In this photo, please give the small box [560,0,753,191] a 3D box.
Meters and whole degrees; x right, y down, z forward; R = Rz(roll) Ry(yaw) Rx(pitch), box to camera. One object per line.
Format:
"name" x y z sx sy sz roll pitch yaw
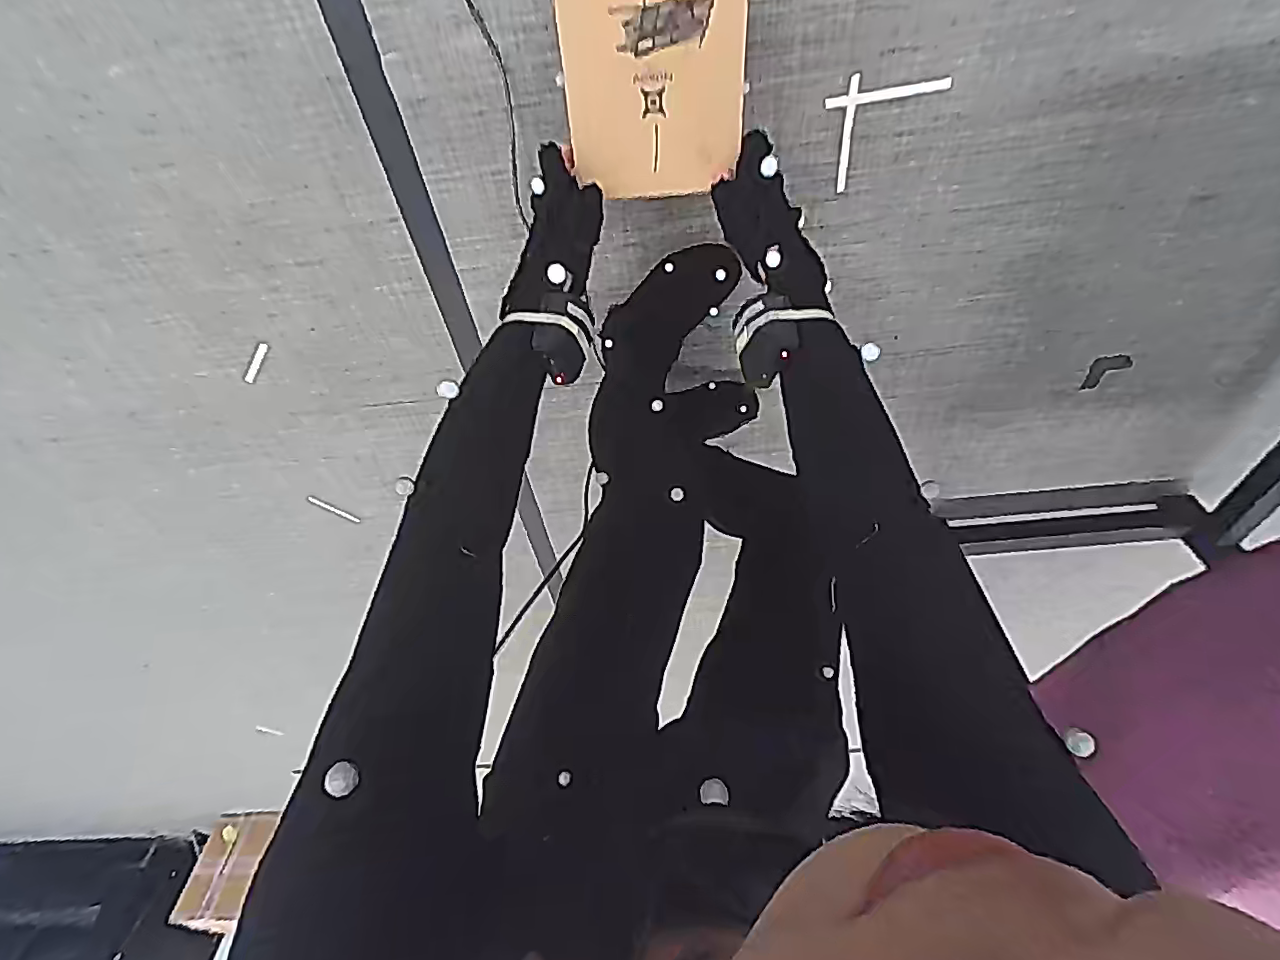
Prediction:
"small box" 0.017 -0.409 0.547 0.168 0.176 0.179 -2 129 3
